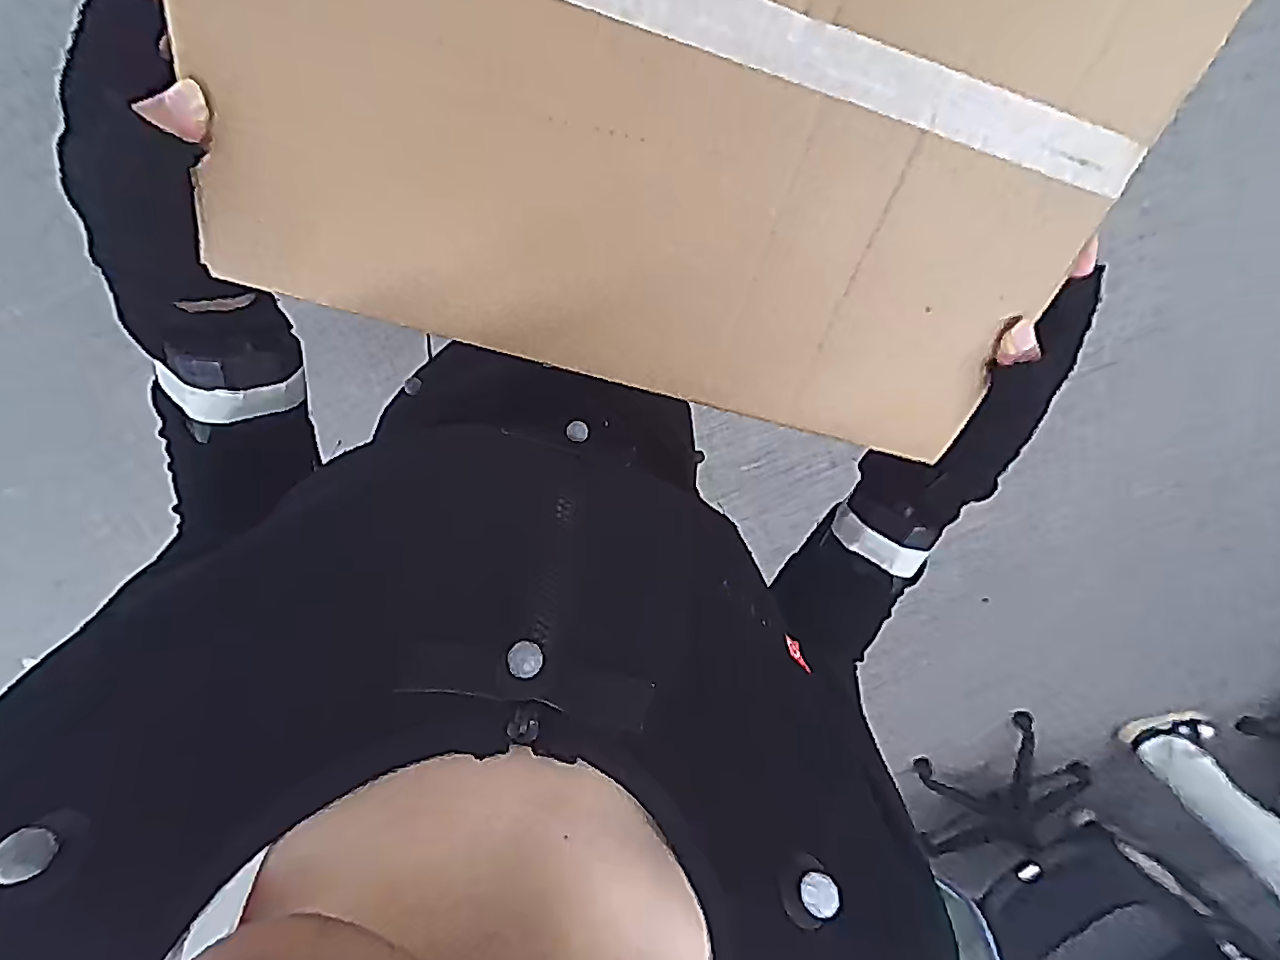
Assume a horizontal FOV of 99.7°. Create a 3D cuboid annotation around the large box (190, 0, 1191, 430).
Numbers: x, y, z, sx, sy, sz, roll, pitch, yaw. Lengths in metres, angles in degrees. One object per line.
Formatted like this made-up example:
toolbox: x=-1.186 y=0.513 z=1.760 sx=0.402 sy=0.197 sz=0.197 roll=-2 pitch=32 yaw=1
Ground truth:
large box: x=0.016 y=-0.269 z=0.353 sx=0.408 sy=0.320 sz=0.320 roll=11 pitch=122 yaw=-8
